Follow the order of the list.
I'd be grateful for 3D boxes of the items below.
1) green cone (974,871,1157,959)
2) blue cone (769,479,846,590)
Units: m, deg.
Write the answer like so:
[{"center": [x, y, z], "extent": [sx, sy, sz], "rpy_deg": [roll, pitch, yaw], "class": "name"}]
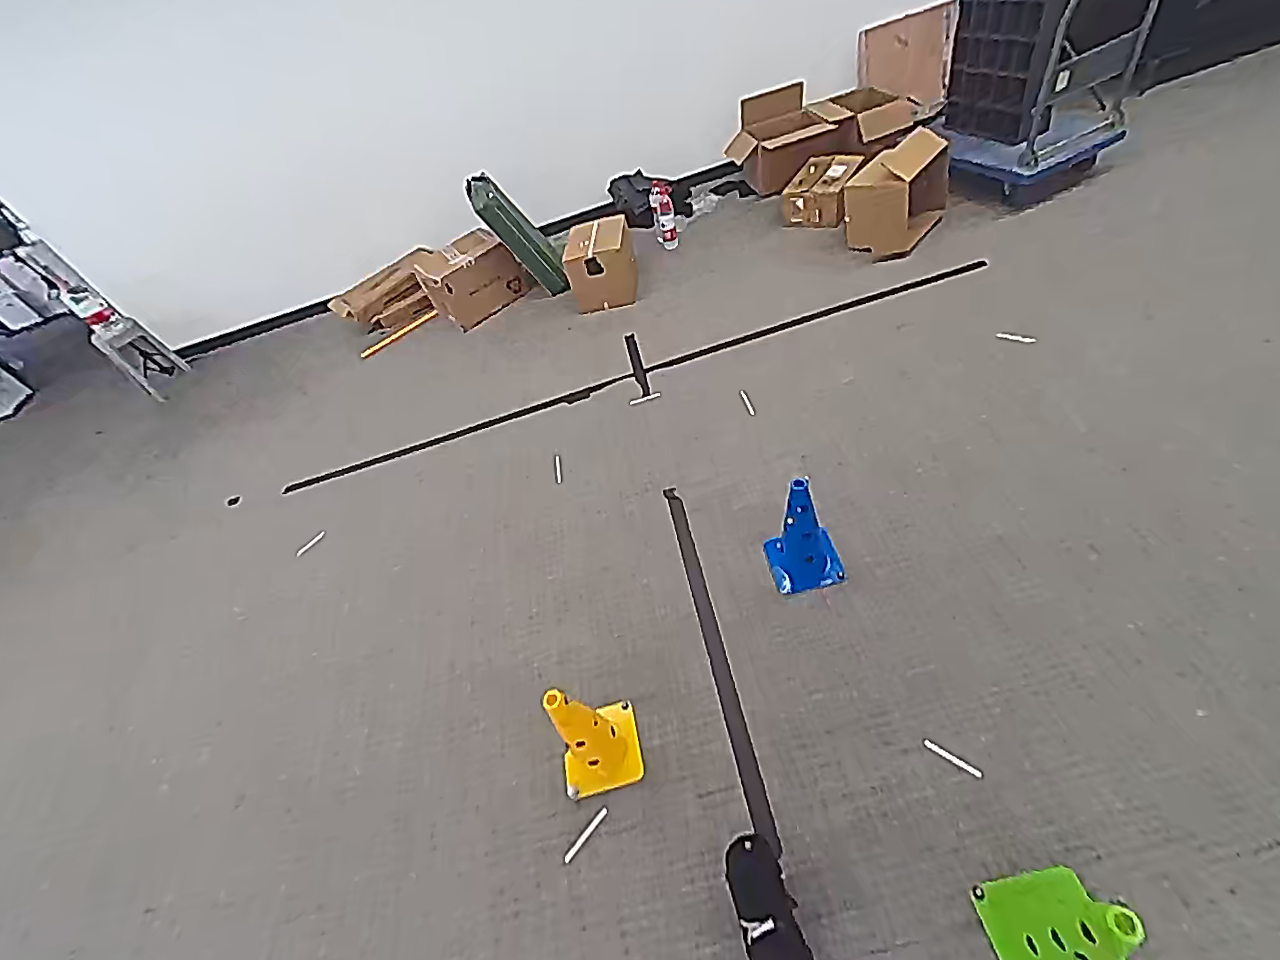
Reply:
[{"center": [0.705, 0.724, 0.849], "extent": [0.202, 0.368, 0.200], "rpy_deg": [-16, 45, 3], "class": "green cone"}, {"center": [0.457, 0.133, 1.509], "extent": [0.192, 0.380, 0.193], "rpy_deg": [-13, 46, 6], "class": "blue cone"}]
